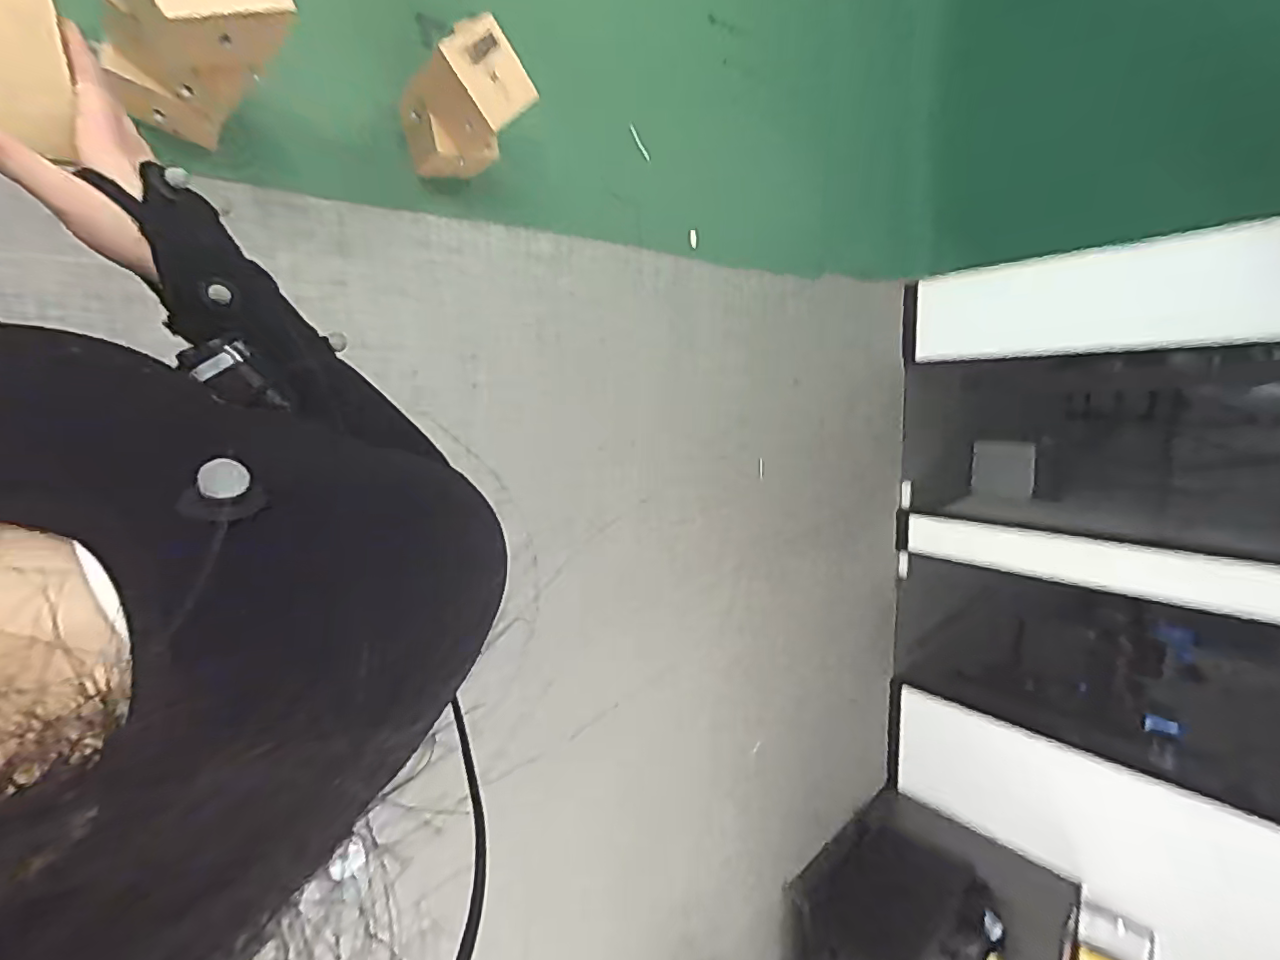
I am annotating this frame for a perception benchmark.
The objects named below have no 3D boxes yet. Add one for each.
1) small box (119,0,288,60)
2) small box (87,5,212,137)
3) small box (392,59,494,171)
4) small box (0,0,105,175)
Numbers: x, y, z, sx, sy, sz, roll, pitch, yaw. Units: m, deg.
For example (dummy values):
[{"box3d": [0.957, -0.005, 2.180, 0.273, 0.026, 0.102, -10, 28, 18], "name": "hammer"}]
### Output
[{"box3d": [-0.656, -0.744, 0.779, 0.179, 0.176, 0.168, -38, 121, -31], "name": "small box"}, {"box3d": [-0.890, -0.785, 1.004, 0.168, 0.176, 0.179, 10, 90, -43], "name": "small box"}, {"box3d": [-0.492, -0.896, 1.345, 0.168, 0.176, 0.179, -23, 111, -38], "name": "small box"}, {"box3d": [-0.434, -0.287, 0.307, 0.168, 0.176, 0.179, -13, 120, -41], "name": "small box"}]
